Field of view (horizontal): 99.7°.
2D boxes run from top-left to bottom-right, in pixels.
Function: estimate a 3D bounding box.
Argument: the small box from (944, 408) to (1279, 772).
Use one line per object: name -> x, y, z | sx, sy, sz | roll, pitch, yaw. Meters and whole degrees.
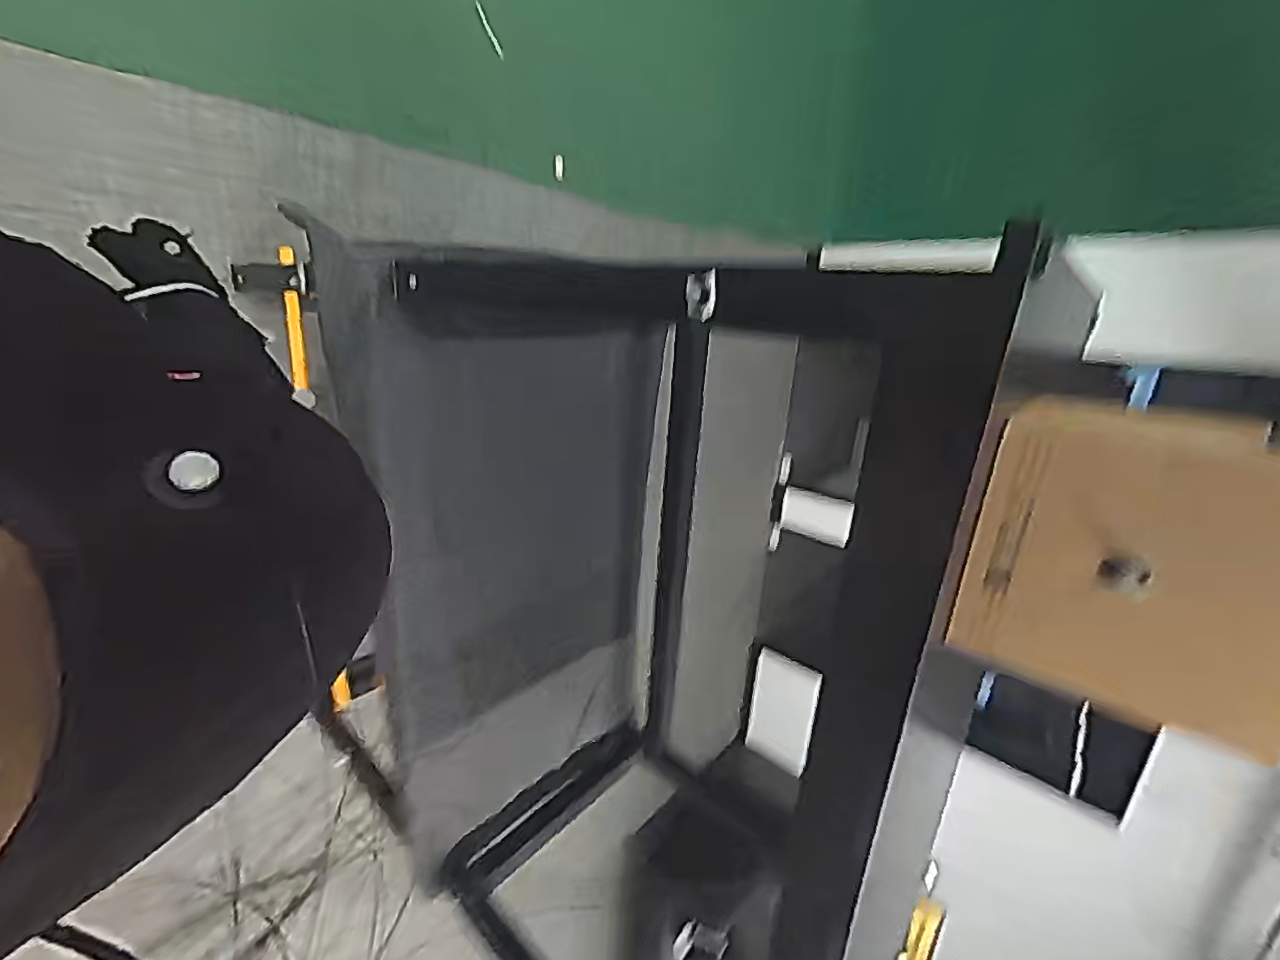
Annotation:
small box -> 0.335, 0.048, 0.378 | 0.179, 0.176, 0.168 | -15, 117, -47
